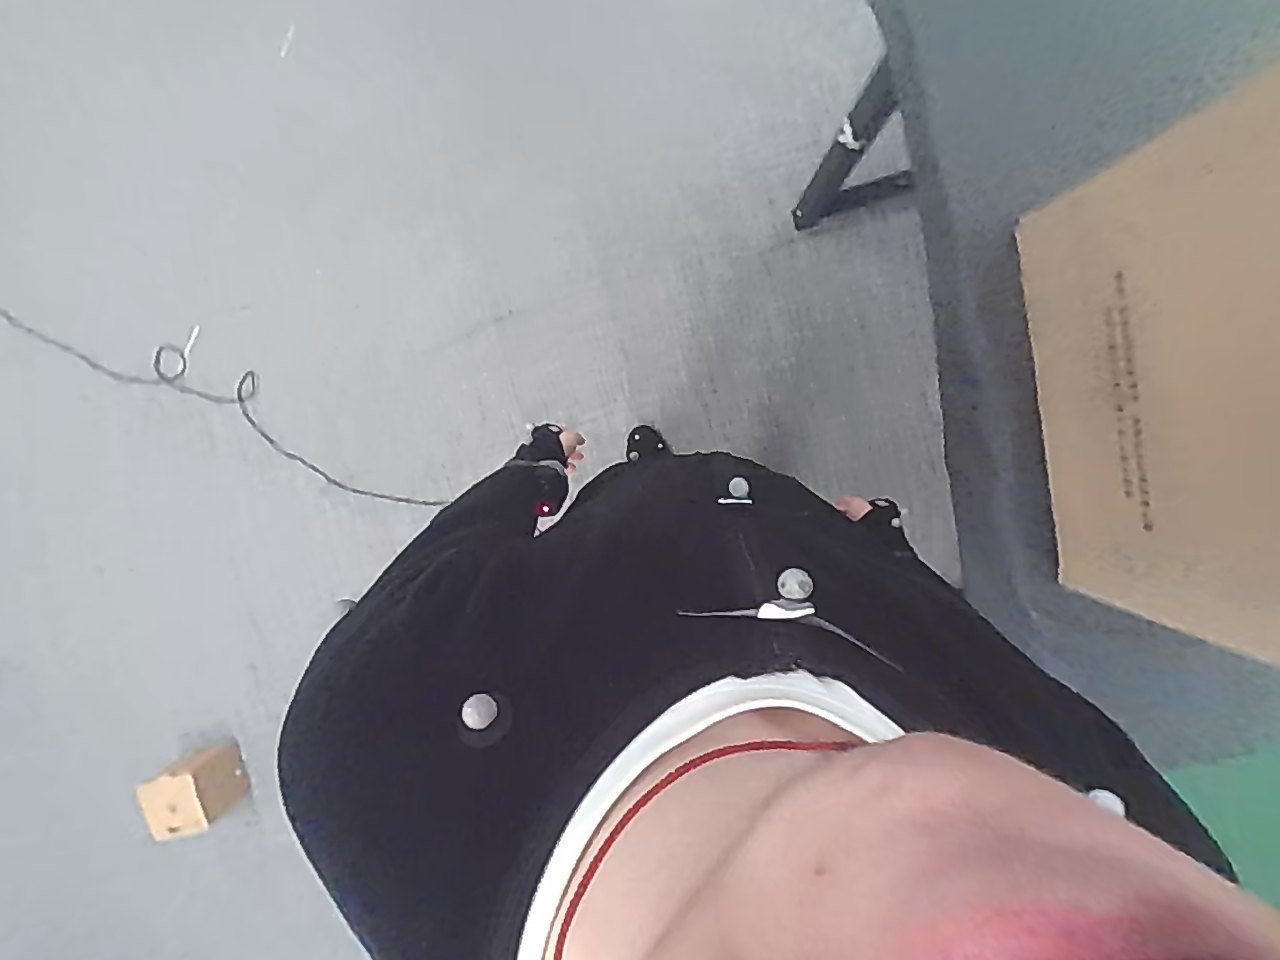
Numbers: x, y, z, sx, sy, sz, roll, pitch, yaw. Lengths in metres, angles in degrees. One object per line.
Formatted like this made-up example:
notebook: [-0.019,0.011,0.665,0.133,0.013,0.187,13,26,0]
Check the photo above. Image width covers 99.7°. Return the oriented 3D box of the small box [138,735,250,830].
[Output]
small box: [-1.301,0.879,1.590,0.168,0.176,0.179,-13,95,3]
